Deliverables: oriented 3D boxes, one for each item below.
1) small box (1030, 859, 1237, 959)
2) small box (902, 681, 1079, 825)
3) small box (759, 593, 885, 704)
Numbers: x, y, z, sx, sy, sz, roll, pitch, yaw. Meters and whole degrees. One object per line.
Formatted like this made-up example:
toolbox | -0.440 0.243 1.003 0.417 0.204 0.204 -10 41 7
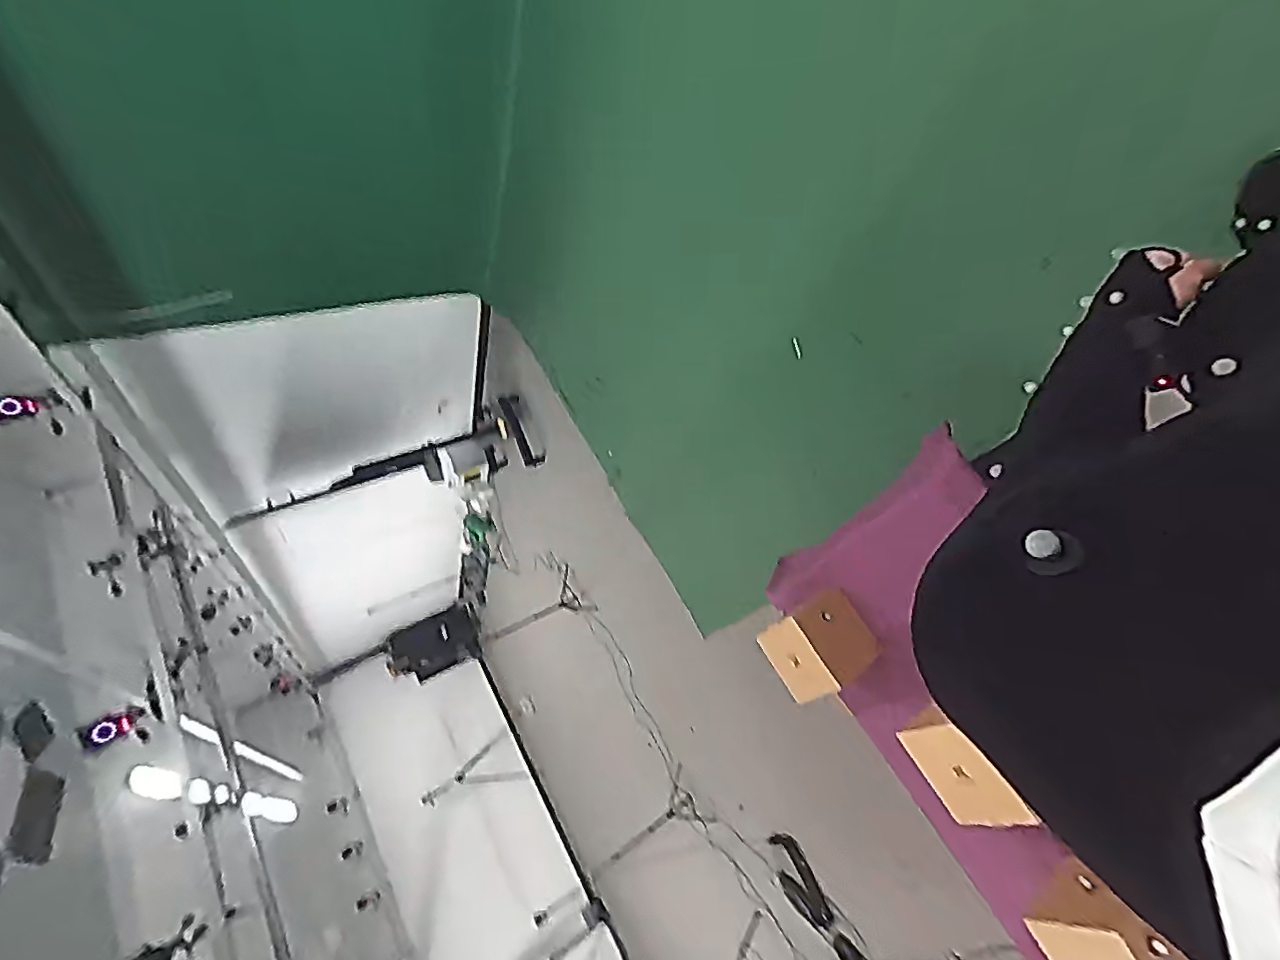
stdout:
small box | 0.796 0.750 0.871 0.179 0.176 0.168 57 148 19
small box | 0.630 0.486 0.978 0.179 0.176 0.168 56 147 18
small box | 0.416 0.381 1.243 0.179 0.176 0.168 57 146 18
